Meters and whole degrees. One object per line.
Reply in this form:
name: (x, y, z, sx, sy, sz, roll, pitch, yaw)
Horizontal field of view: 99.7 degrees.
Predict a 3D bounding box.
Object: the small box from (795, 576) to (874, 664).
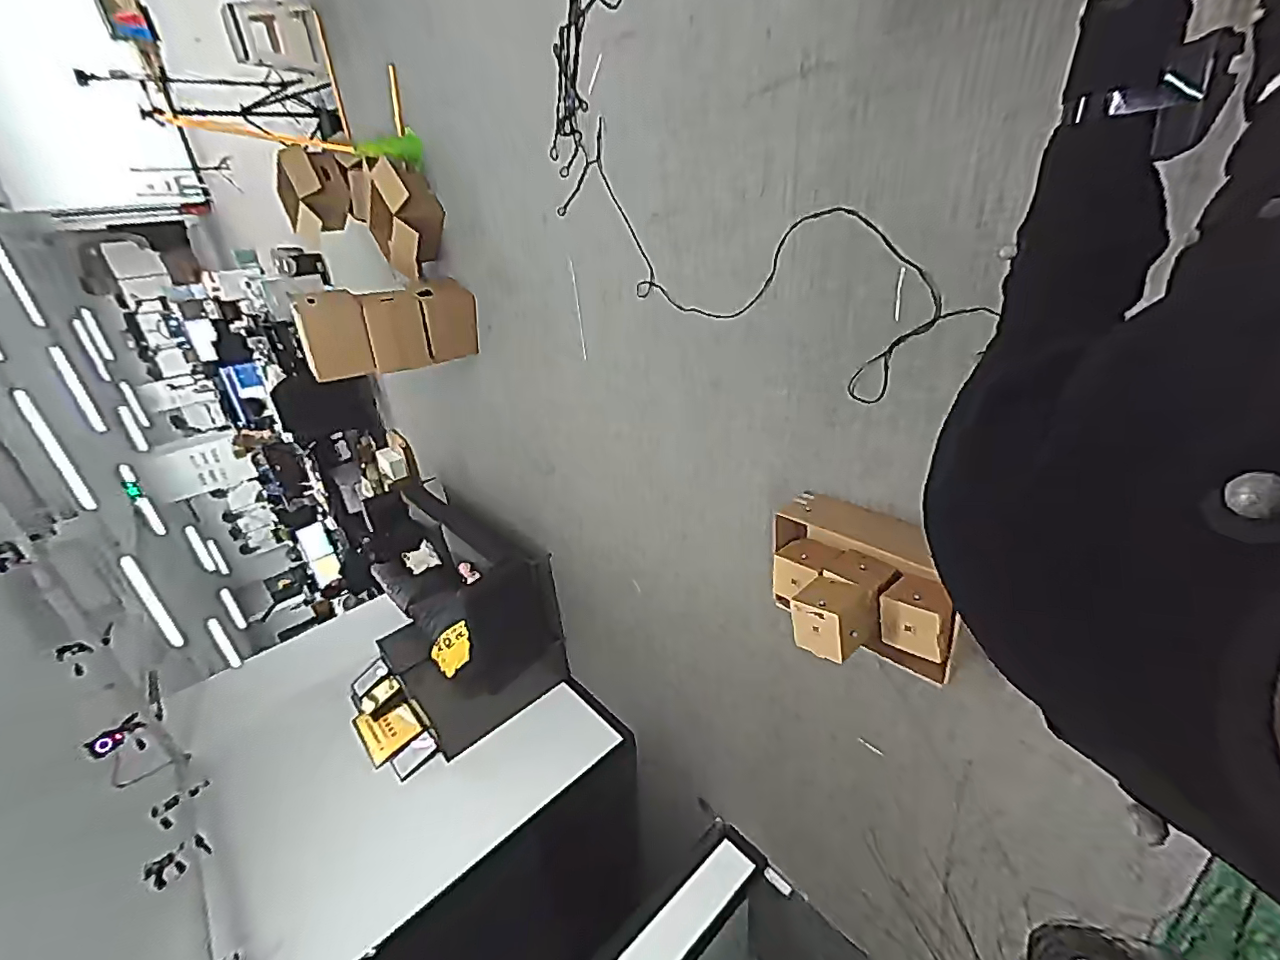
small box: (0.607, 0.426, 1.674, 0.168, 0.176, 0.179, 11, 119, 49)
